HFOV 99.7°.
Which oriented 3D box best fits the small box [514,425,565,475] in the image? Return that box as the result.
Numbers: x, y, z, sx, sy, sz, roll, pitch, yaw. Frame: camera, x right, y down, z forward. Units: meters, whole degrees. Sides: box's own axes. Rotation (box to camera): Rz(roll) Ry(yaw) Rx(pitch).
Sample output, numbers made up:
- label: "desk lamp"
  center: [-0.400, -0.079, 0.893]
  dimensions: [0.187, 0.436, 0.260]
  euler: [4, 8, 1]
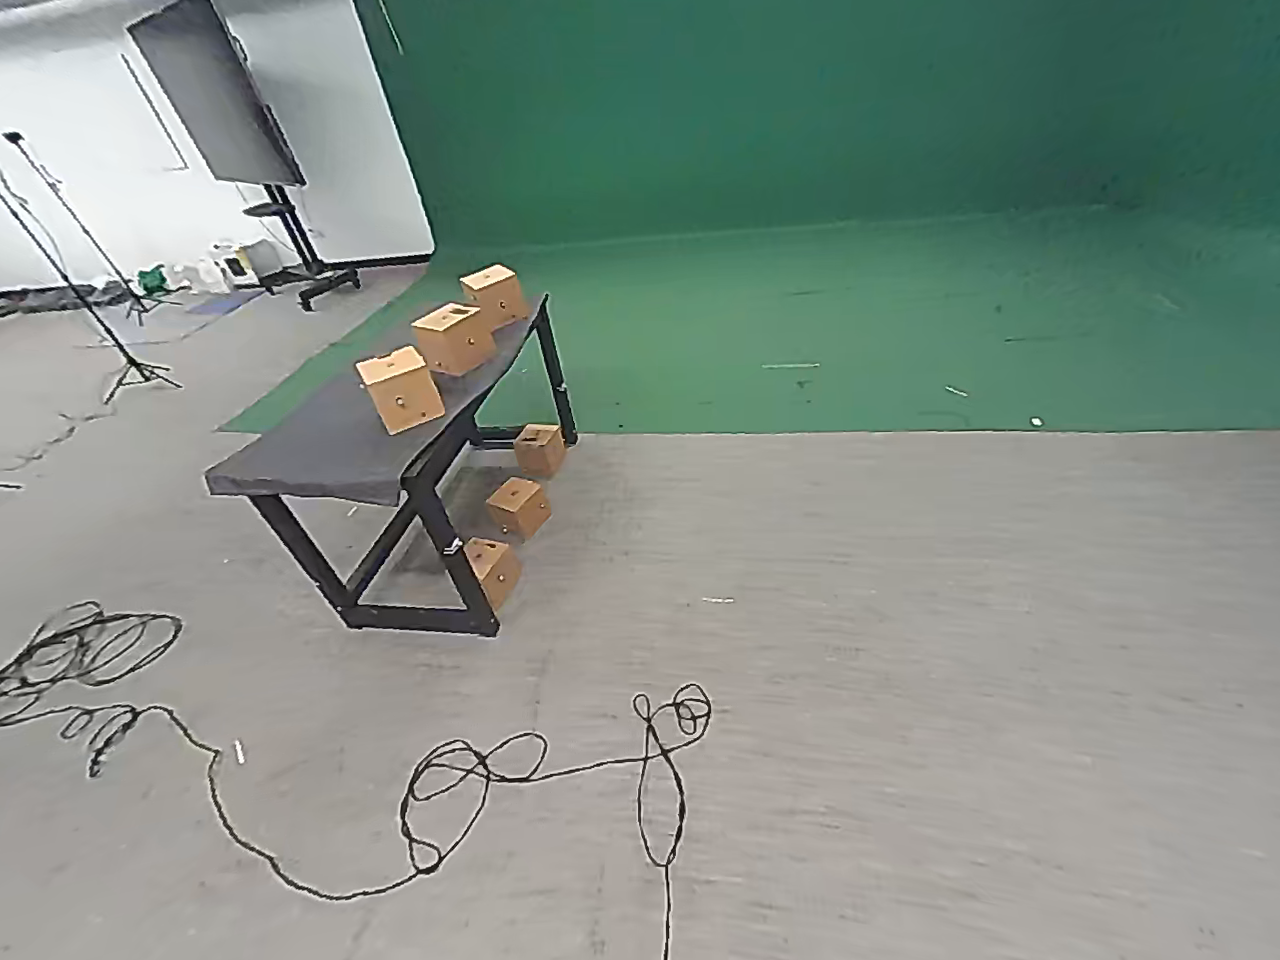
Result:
- label: "small box"
  center: [-0.465, -0.141, 2.542]
  dimensions: [0.168, 0.176, 0.179]
  euler: [5, 40, 15]

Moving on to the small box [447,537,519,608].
- label: "small box"
  center: [-0.564, 0.340, 1.973]
  dimensions: [0.168, 0.176, 0.179]
  euler: [9, 43, 21]

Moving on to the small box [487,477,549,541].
- label: "small box"
  center: [-0.494, 0.119, 2.231]
  dimensions: [0.168, 0.176, 0.179]
  euler: [14, 46, 27]

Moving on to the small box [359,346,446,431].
- label: "small box"
  center: [-0.688, -0.261, 1.575]
  dimensions: [0.168, 0.176, 0.179]
  euler: [-27, 42, -21]

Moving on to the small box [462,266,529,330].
- label: "small box"
  center: [-0.550, -0.696, 2.073]
  dimensions: [0.168, 0.176, 0.179]
  euler: [-30, 43, -20]
